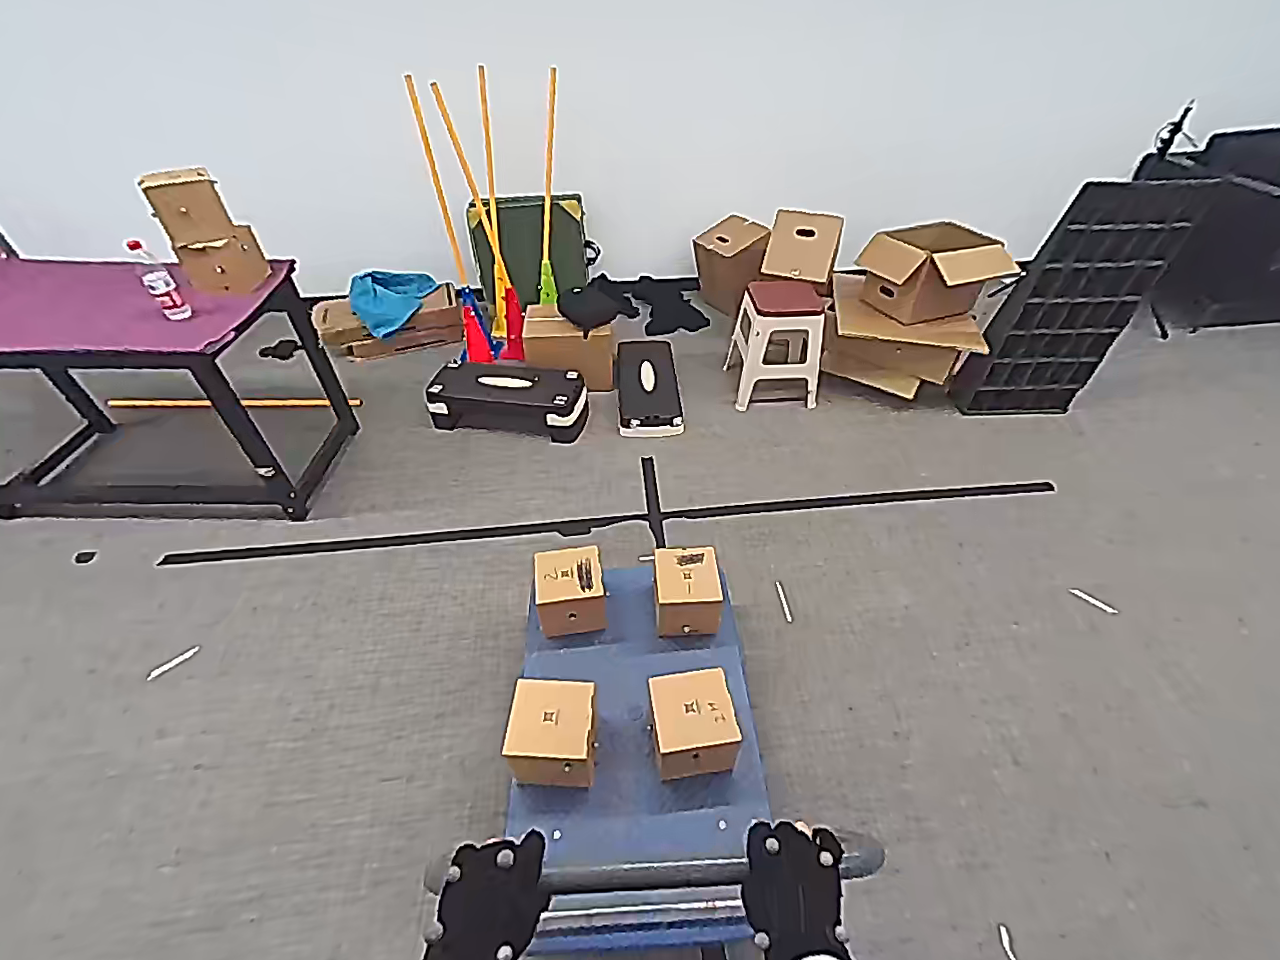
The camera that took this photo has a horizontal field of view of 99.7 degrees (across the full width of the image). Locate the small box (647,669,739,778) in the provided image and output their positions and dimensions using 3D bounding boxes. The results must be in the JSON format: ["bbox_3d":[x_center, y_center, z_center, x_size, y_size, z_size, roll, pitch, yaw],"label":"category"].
[{"bbox_3d":[0.113,0.556,1.229,0.179,0.176,0.168,-6,44,-6],"label":"small box"}]

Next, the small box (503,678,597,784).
[{"bbox_3d":[-0.194,0.567,1.217,0.179,0.176,0.168,3,43,1],"label":"small box"}]

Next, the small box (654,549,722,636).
[{"bbox_3d":[0.125,0.310,1.485,0.168,0.176,0.179,-2,45,-1],"label":"small box"}]
